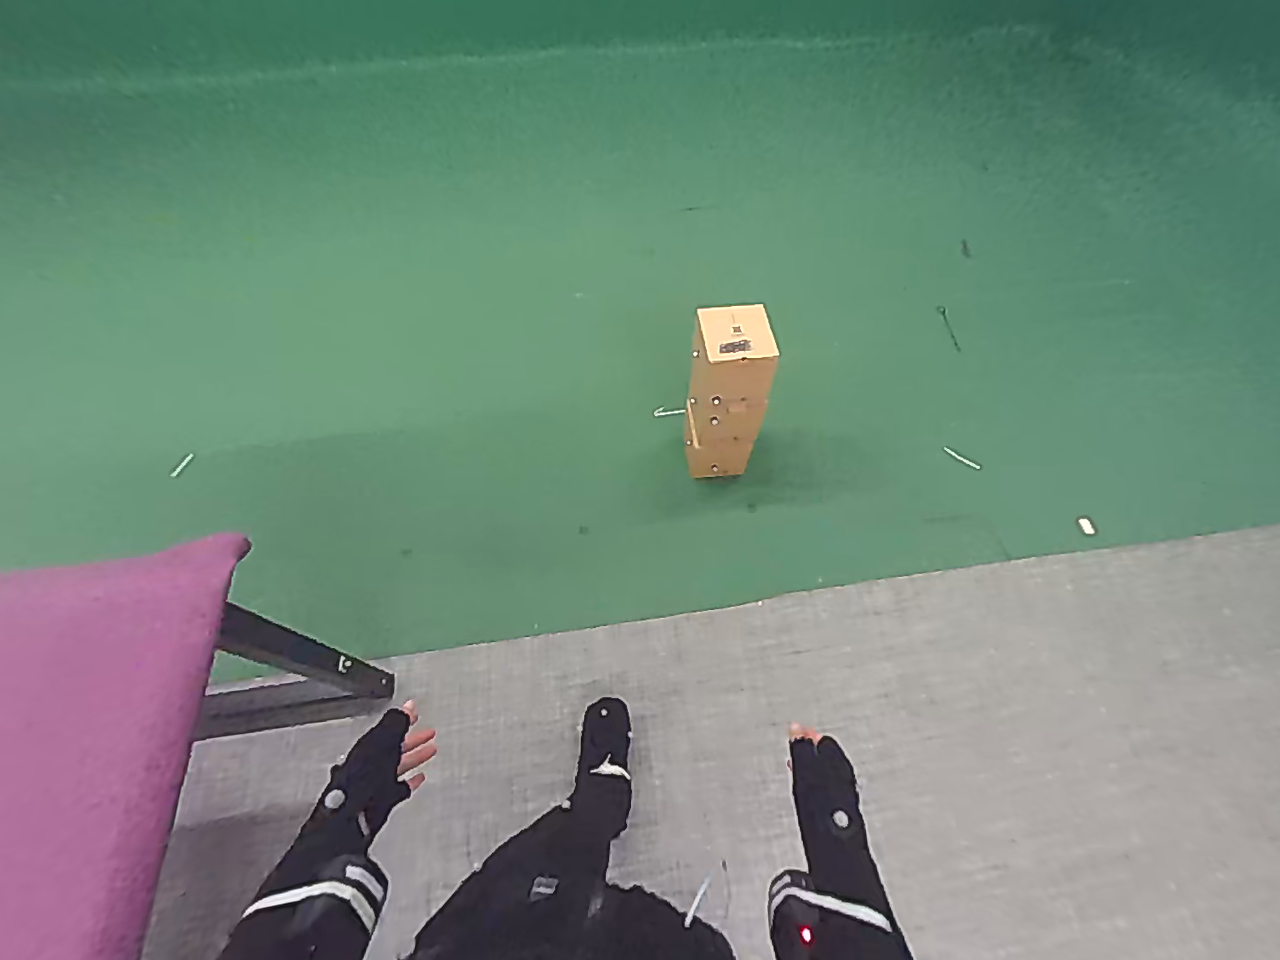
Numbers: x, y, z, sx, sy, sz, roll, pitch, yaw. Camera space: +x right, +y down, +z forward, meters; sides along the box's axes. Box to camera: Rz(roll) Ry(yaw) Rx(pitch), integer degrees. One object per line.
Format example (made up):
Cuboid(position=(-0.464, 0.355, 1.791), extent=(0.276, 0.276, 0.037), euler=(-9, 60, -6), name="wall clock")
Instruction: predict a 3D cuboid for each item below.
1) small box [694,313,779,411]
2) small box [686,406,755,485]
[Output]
Cuboid(position=(0.232, -0.286, 1.343), extent=(0.168, 0.176, 0.179), euler=(-5, 58, -4), name="small box")
Cuboid(position=(0.233, -0.105, 1.619), extent=(0.168, 0.176, 0.179), euler=(-5, 60, -3), name="small box")
